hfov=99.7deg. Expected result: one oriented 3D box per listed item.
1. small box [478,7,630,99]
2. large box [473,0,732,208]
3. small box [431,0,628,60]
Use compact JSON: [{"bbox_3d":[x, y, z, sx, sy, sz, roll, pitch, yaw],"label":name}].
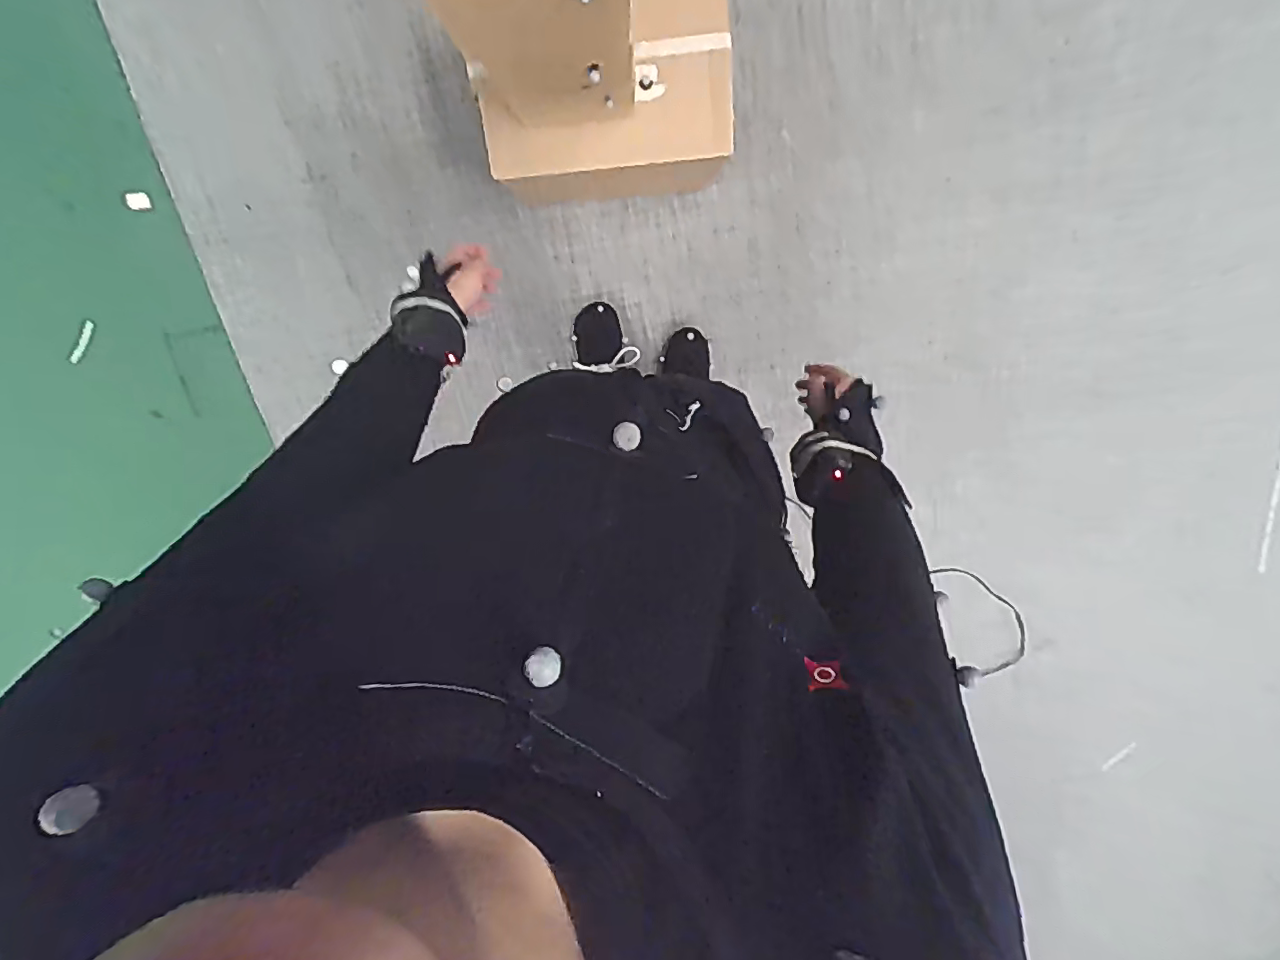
[{"bbox_3d":[-0.100,-0.551,0.602,0.168,0.176,0.179,-7,109,-1],"label":"small box"},{"bbox_3d":[-0.068,-0.705,0.981,0.408,0.320,0.320,-6,111,0],"label":"large box"},{"bbox_3d":[-0.101,-0.484,0.453,0.179,0.176,0.168,-6,110,-1],"label":"small box"}]
